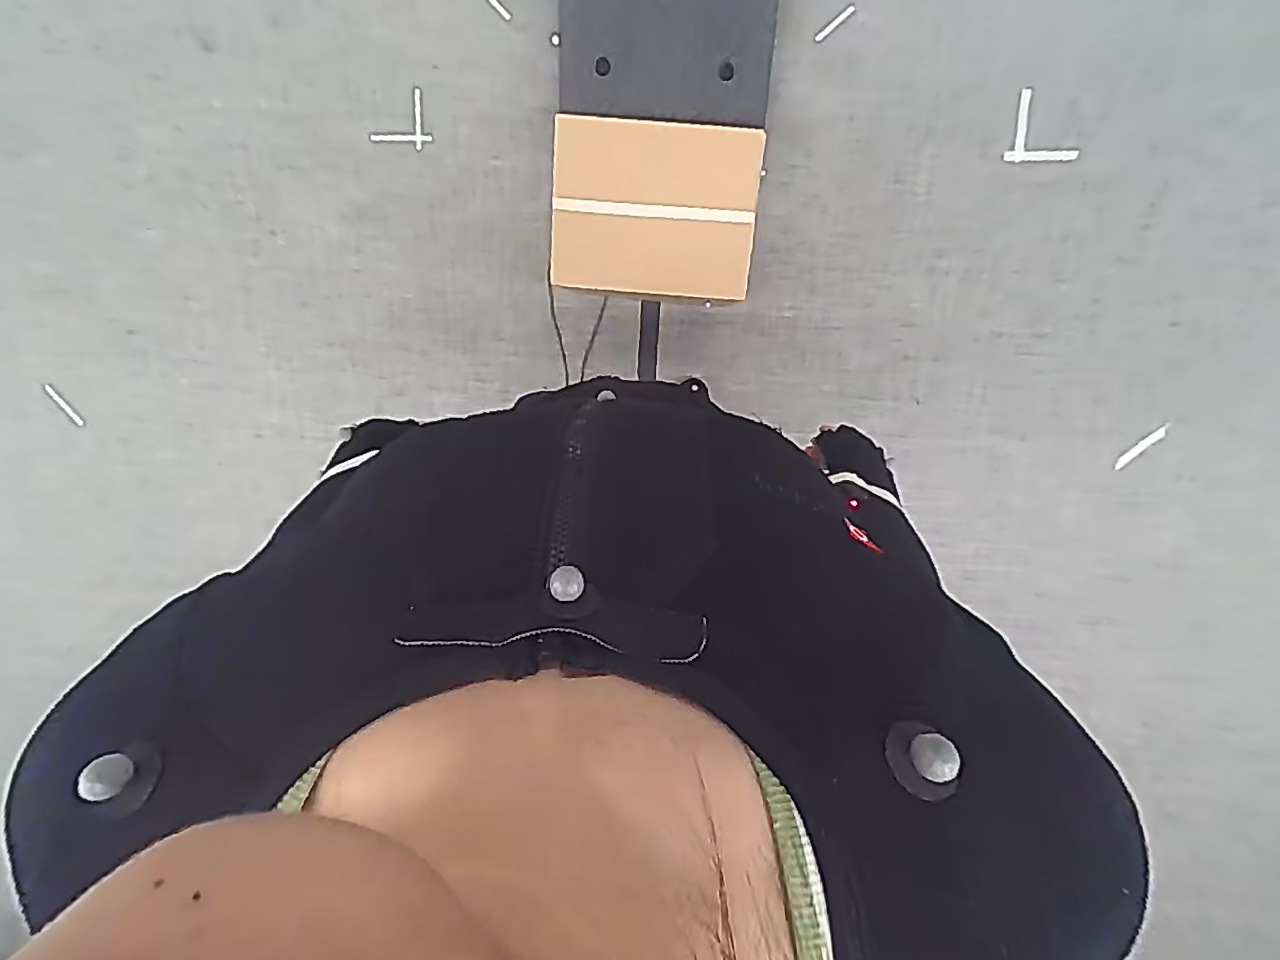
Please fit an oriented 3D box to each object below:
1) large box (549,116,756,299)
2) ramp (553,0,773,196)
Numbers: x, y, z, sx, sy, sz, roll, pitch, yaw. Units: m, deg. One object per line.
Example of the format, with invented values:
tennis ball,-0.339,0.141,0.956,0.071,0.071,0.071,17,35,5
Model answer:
large box,0.023,-0.582,1.219,0.408,0.320,0.320,4,106,0
ramp,0.056,-1.153,1.172,0.509,0.206,0.991,1,102,0
